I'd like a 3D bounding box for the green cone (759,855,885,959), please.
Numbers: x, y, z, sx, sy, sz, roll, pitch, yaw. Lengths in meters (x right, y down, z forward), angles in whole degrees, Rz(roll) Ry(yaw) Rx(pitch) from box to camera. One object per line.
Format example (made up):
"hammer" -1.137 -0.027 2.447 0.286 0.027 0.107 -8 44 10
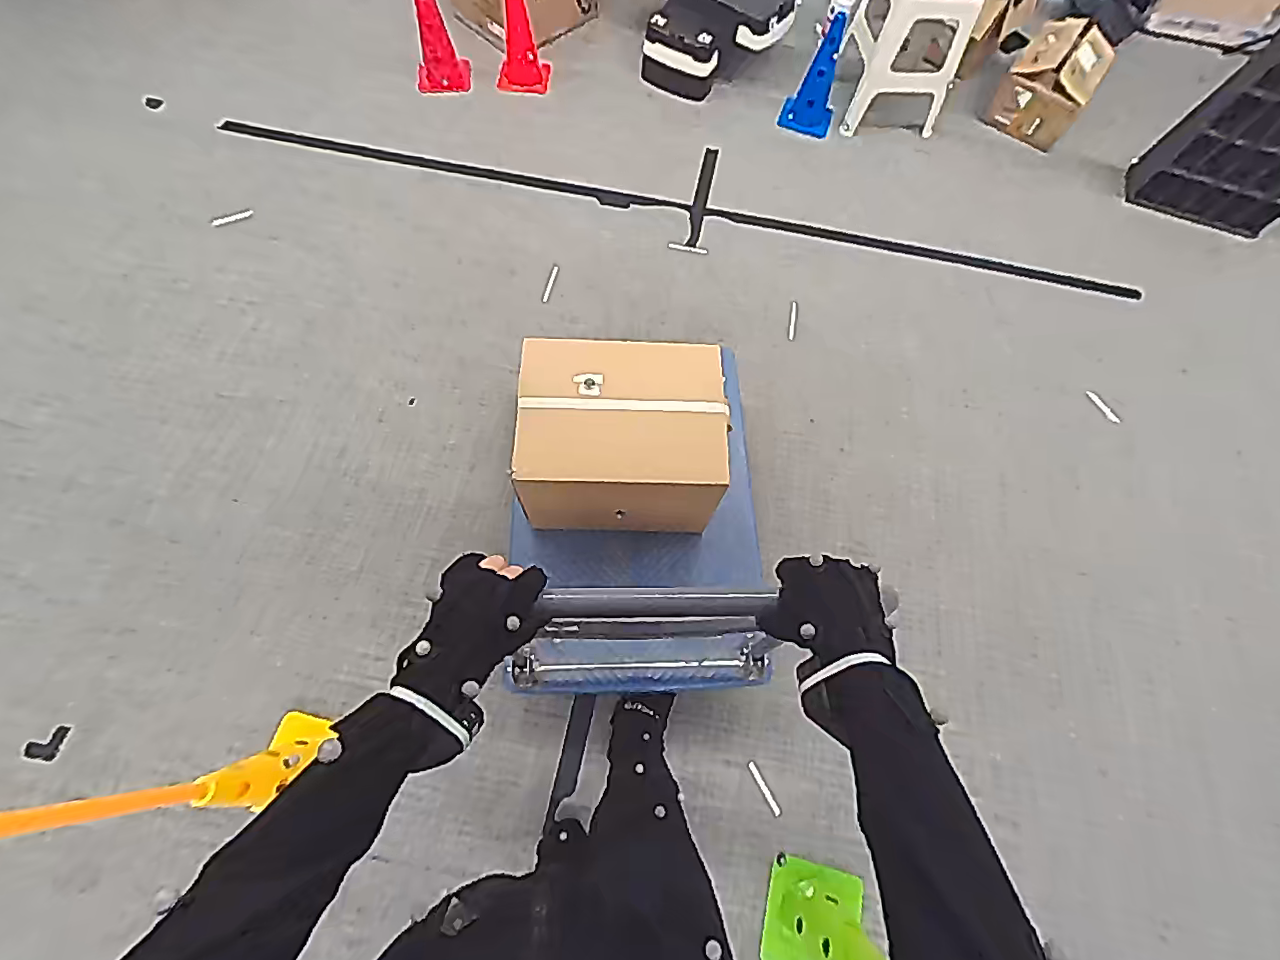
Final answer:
"green cone" 0.373 0.860 0.979 0.202 0.368 0.200 16 67 2

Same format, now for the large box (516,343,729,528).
"large box" -0.037 -0.081 1.195 0.408 0.320 0.320 2 68 -2
